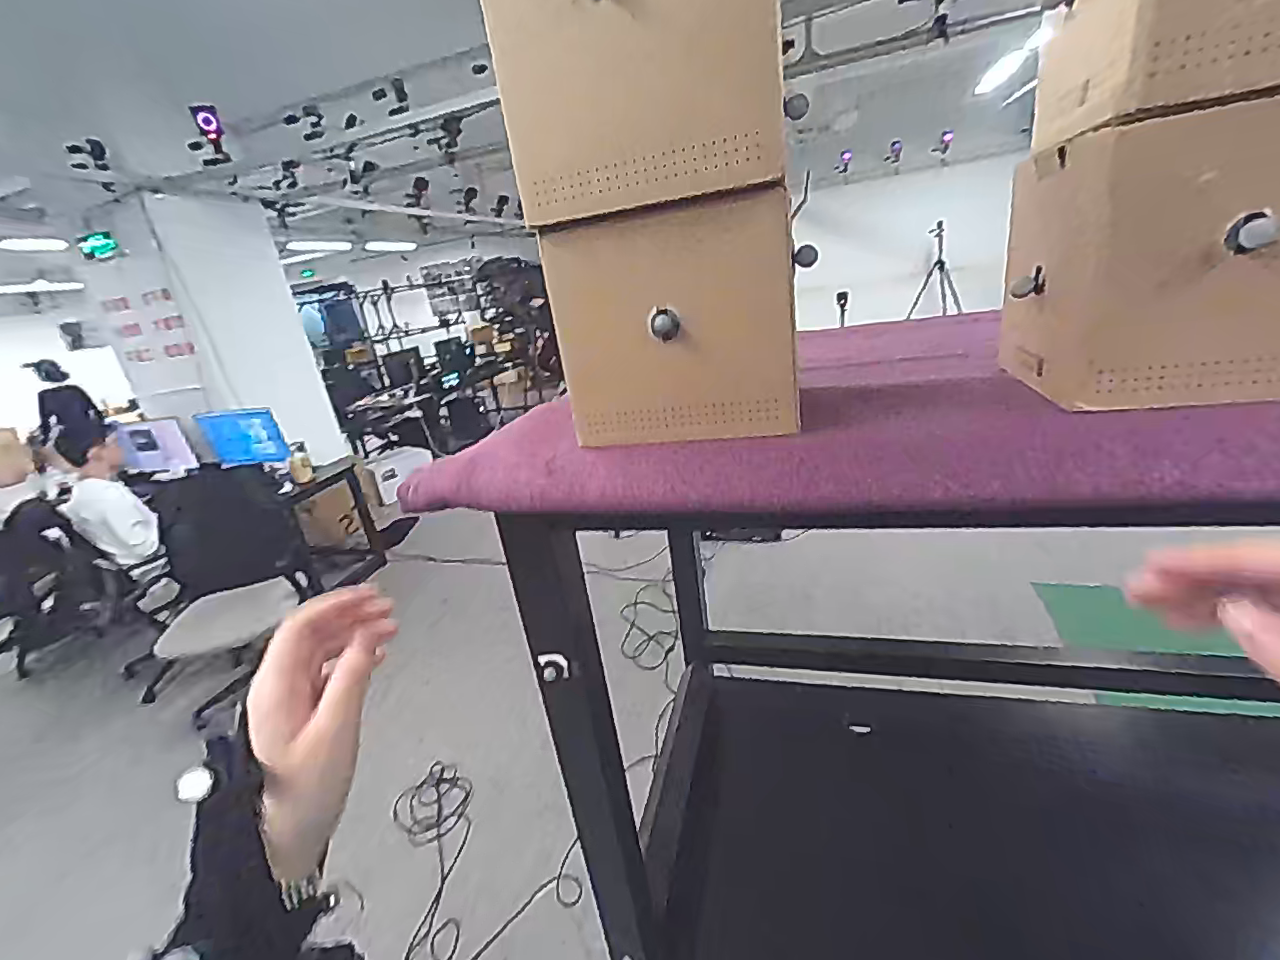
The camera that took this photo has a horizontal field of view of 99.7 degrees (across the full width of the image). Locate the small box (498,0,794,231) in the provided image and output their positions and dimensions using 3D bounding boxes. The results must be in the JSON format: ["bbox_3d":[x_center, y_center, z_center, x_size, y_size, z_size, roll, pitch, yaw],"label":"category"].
[{"bbox_3d":[0.016,-0.281,0.391,0.179,0.176,0.168,-2,22,17],"label":"small box"}]

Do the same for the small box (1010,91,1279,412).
[{"bbox_3d":[0.374,-0.148,0.367,0.179,0.176,0.168,-2,22,19],"label":"small box"}]

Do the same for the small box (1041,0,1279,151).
[{"bbox_3d":[0.353,-0.298,0.305,0.179,0.176,0.168,1,22,21],"label":"small box"}]
